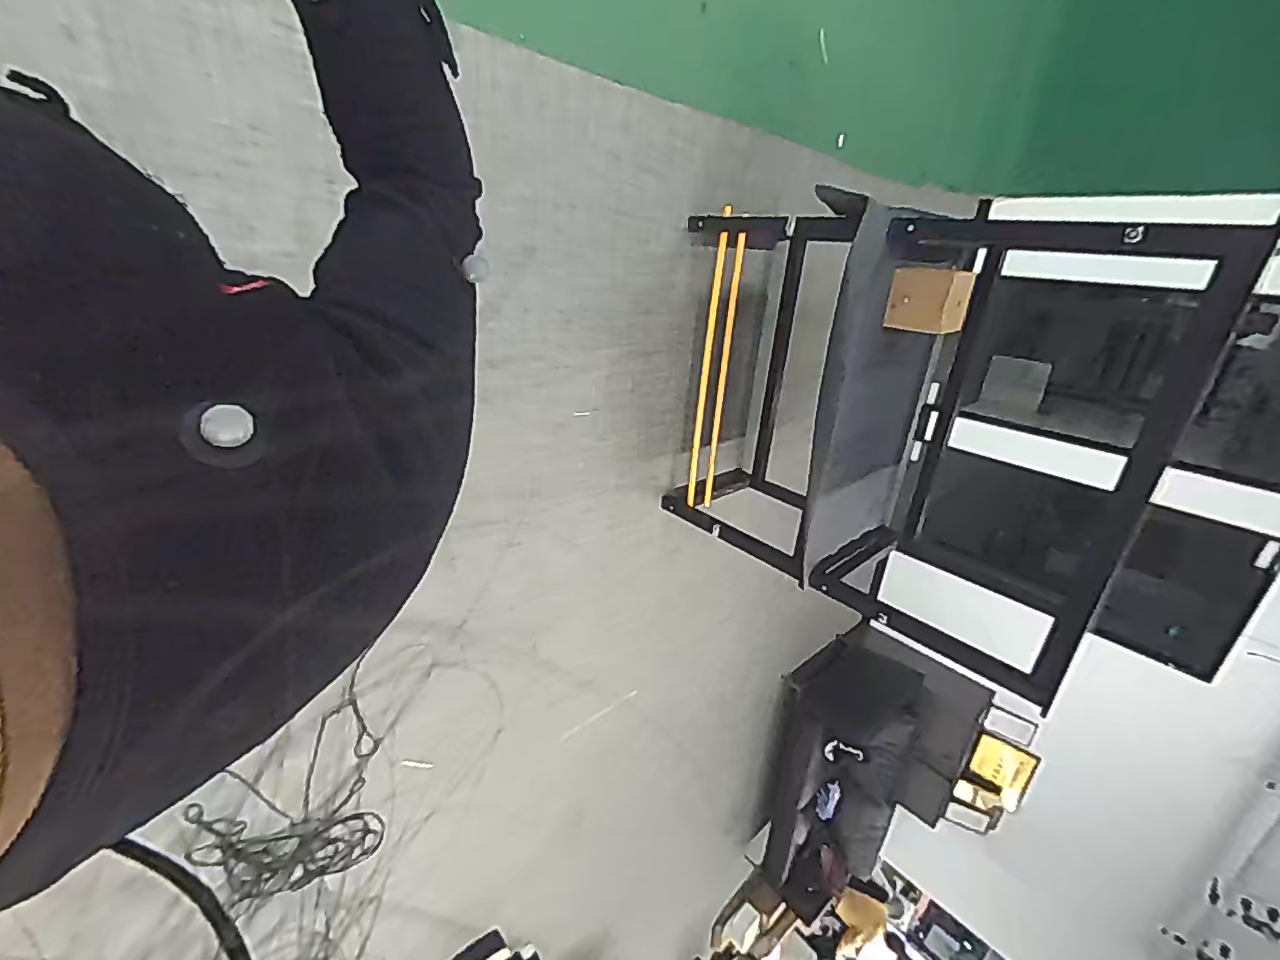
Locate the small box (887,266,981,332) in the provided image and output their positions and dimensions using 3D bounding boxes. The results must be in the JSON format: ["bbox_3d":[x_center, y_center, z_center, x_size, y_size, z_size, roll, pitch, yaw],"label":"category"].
[{"bbox_3d":[0.863,-0.539,1.596,0.179,0.176,0.168,-19,122,-39],"label":"small box"}]
